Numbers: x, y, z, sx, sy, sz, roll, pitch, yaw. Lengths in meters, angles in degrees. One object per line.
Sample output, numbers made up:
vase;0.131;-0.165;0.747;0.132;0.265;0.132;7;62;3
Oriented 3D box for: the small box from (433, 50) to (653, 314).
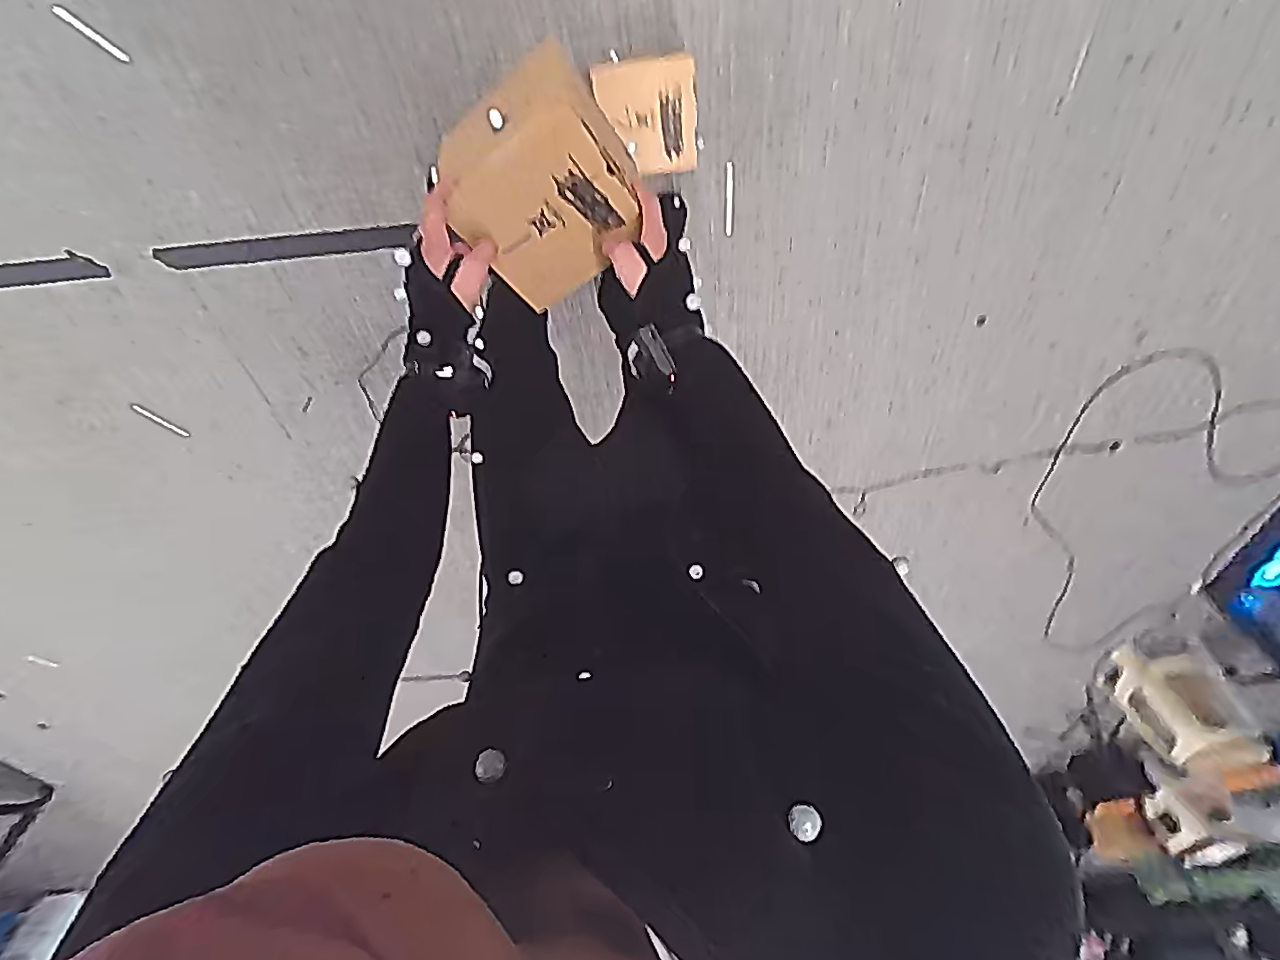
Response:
small box;-0.111;-0.338;0.621;0.179;0.176;0.168;-28;139;22
